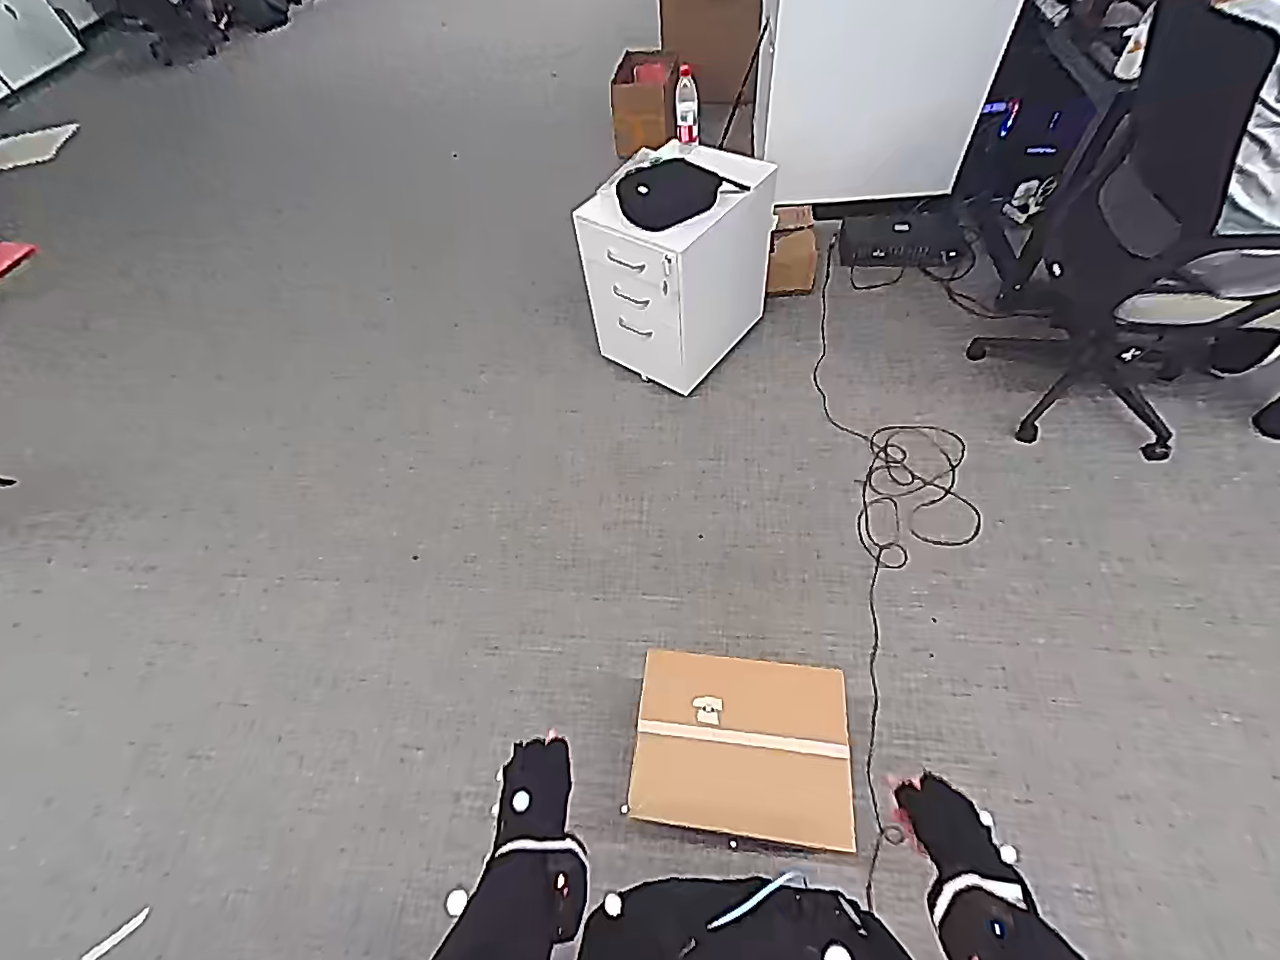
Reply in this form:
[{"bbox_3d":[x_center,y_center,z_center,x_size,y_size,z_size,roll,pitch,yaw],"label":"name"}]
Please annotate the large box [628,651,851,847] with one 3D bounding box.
[{"bbox_3d":[0.209,0.585,1.175,0.408,0.320,0.320,3,56,10],"label":"large box"}]
